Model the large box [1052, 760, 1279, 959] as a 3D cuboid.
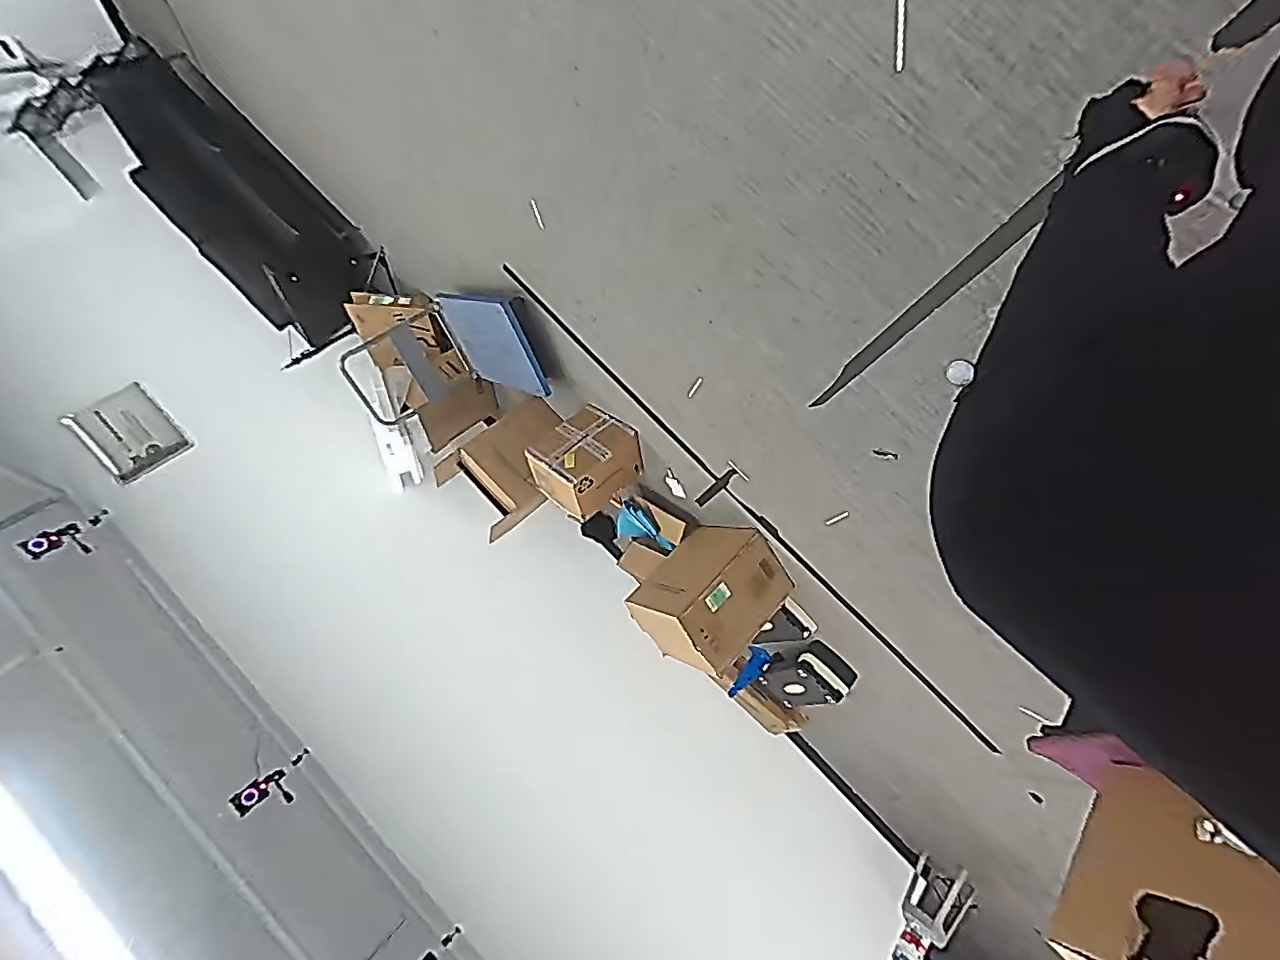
[{"bbox_3d":[0.870,0.638,0.693,0.408,0.320,0.320,44,157,5],"label":"large box"}]
